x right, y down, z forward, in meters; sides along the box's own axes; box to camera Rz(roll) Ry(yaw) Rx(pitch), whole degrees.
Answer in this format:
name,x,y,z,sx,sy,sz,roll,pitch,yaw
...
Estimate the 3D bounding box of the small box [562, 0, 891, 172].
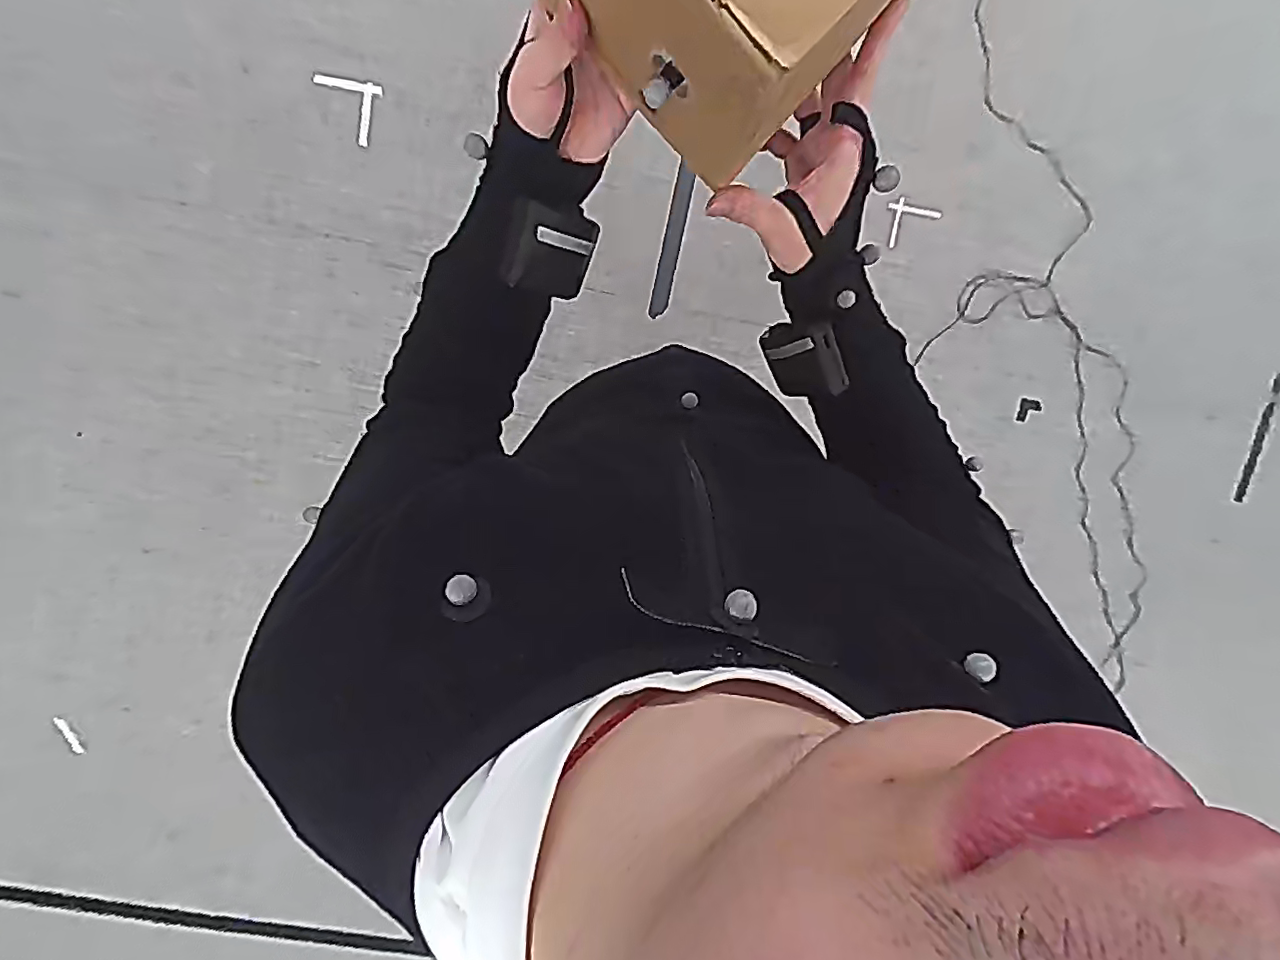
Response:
name,x,y,z,sx,sy,sz,roll,pitch,yaw
small box,0.052,-0.278,0.237,0.168,0.176,0.179,42,101,-12
